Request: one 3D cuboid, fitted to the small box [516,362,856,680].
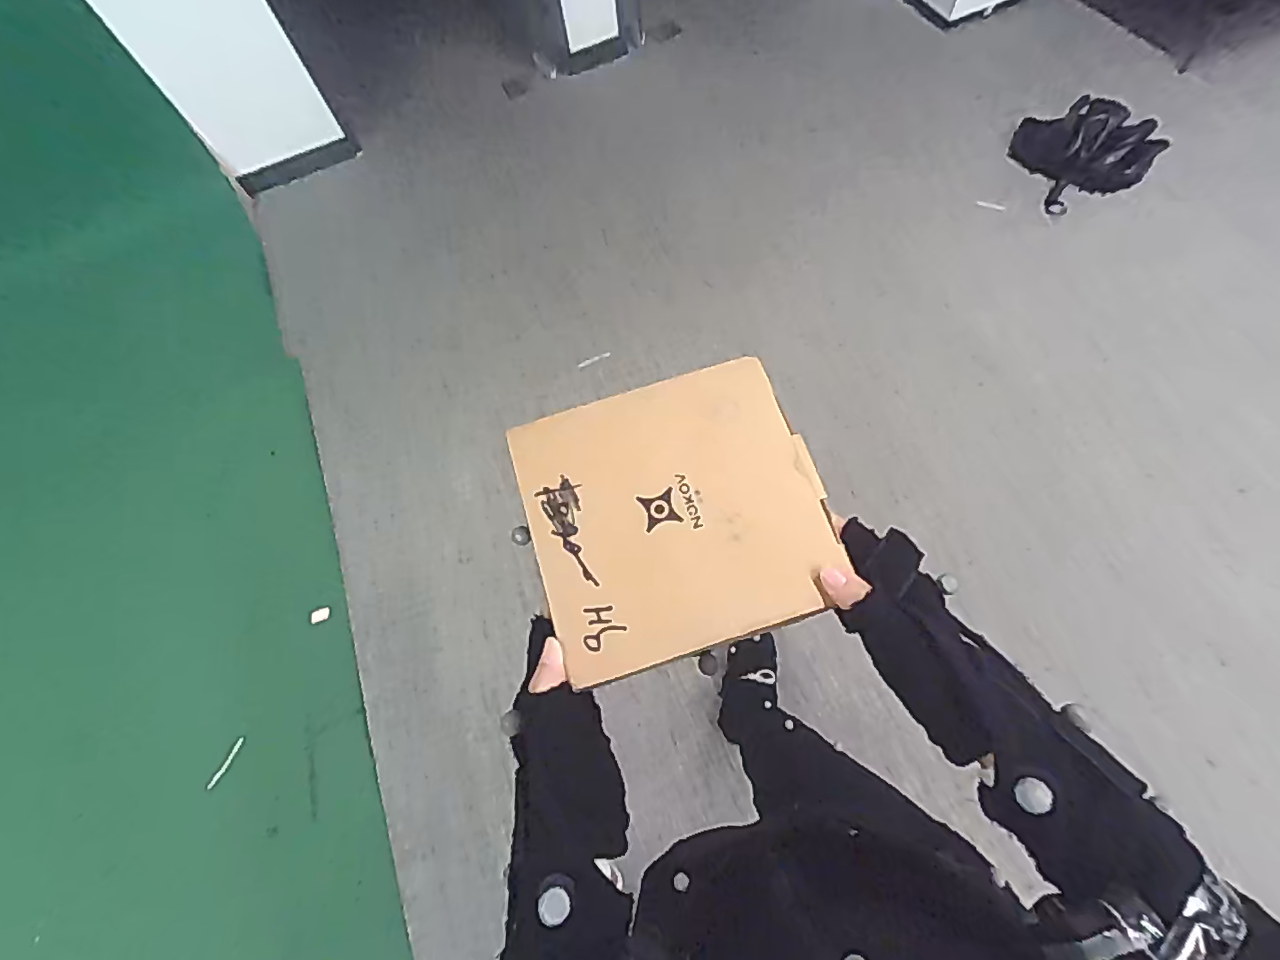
[{"bbox_3d":[0.024,0.042,0.409,0.179,0.176,0.168,-17,69,-5],"label":"small box"}]
